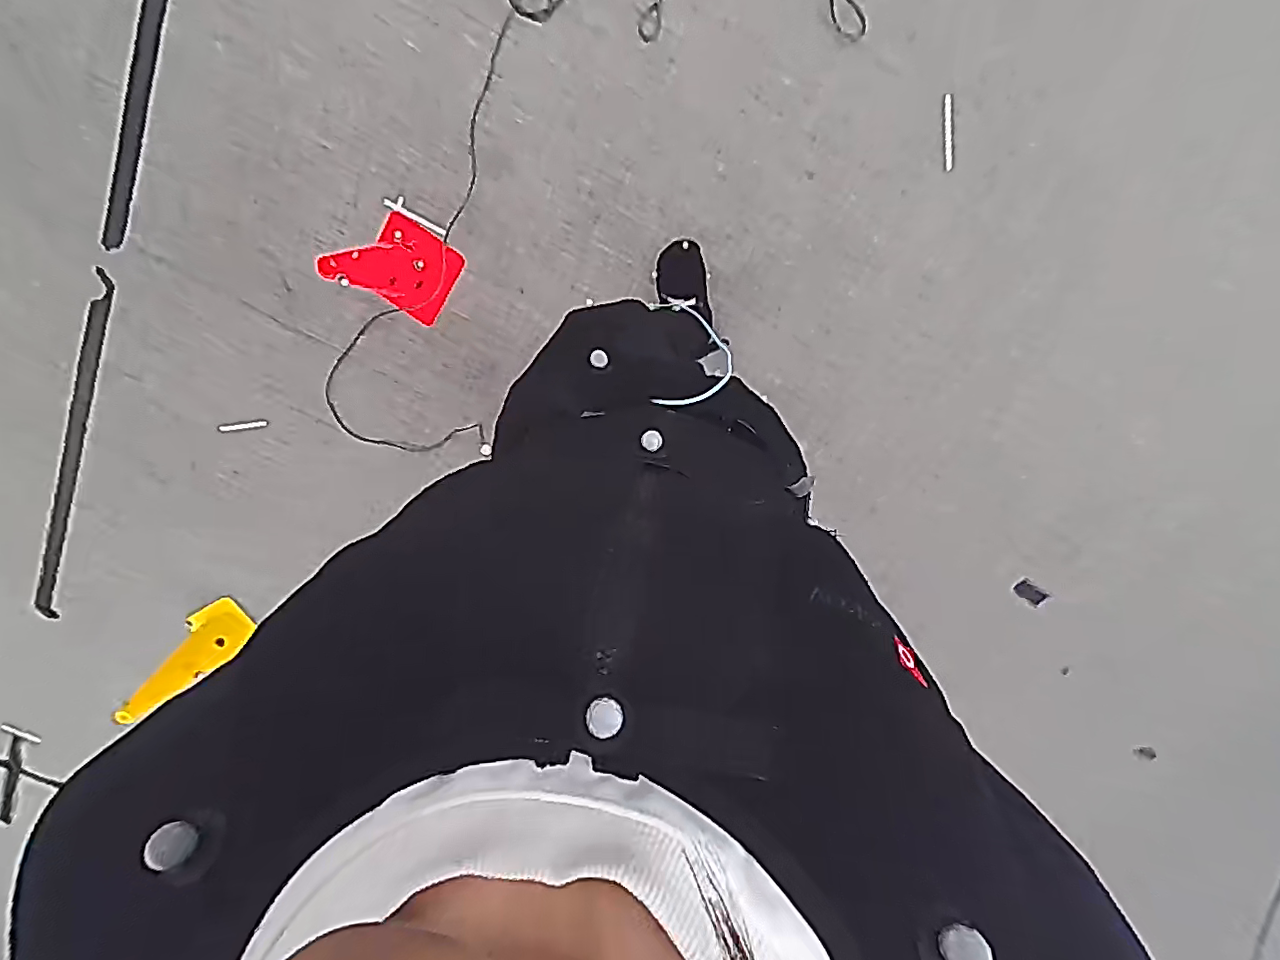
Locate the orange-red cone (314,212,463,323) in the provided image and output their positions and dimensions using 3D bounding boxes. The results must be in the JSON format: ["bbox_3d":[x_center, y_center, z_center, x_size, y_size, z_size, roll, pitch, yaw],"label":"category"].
[{"bbox_3d":[-0.555,-0.444,1.135,0.198,0.360,0.199,36,109,-9],"label":"orange-red cone"}]
